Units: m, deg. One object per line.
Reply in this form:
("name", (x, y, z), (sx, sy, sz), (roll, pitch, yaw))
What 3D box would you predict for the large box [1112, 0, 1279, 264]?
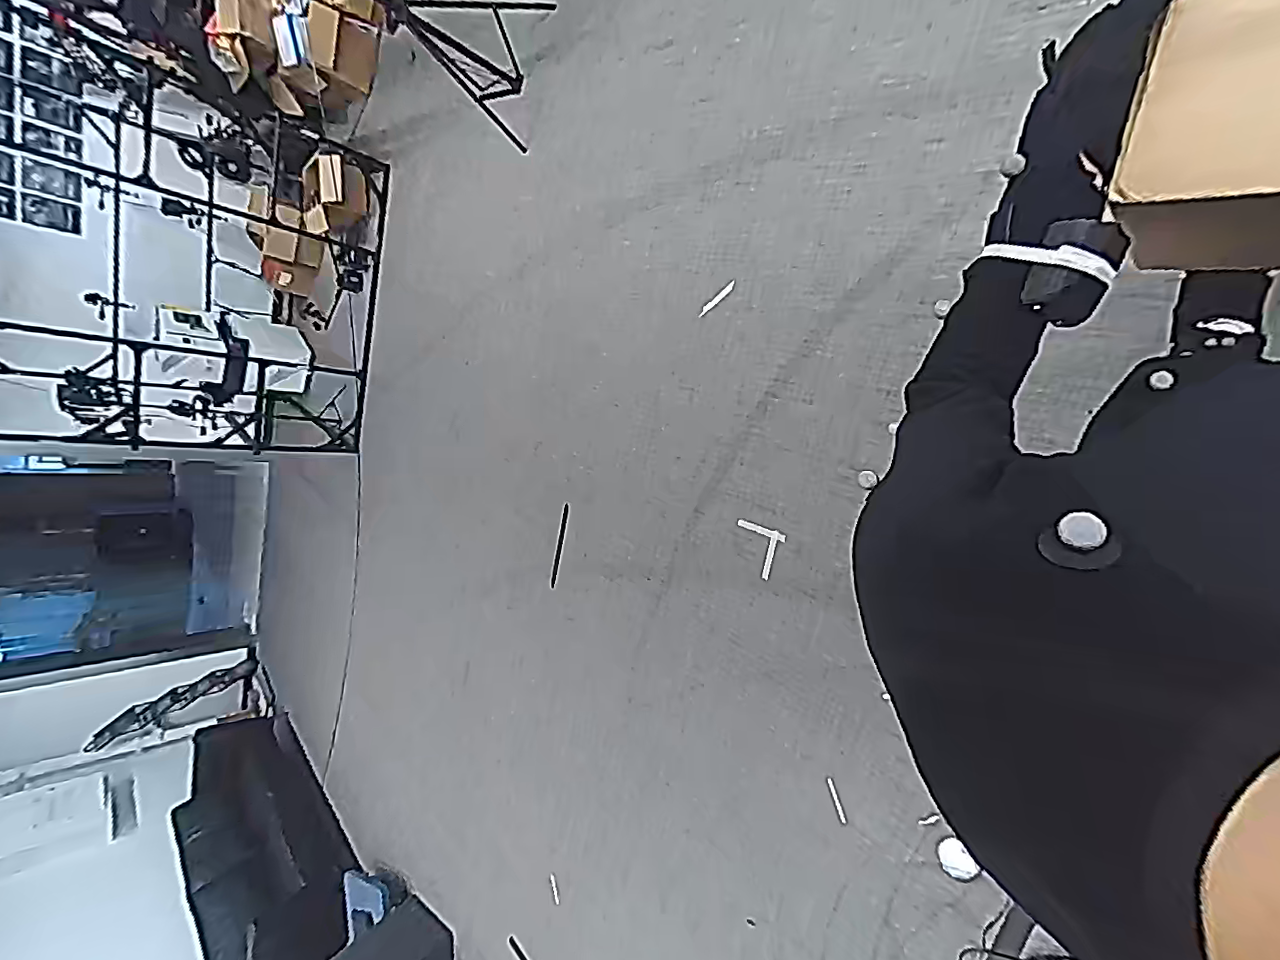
("large box", (0.608, -0.332, 0.344), (0.408, 0.320, 0.320), (19, 111, 42))
